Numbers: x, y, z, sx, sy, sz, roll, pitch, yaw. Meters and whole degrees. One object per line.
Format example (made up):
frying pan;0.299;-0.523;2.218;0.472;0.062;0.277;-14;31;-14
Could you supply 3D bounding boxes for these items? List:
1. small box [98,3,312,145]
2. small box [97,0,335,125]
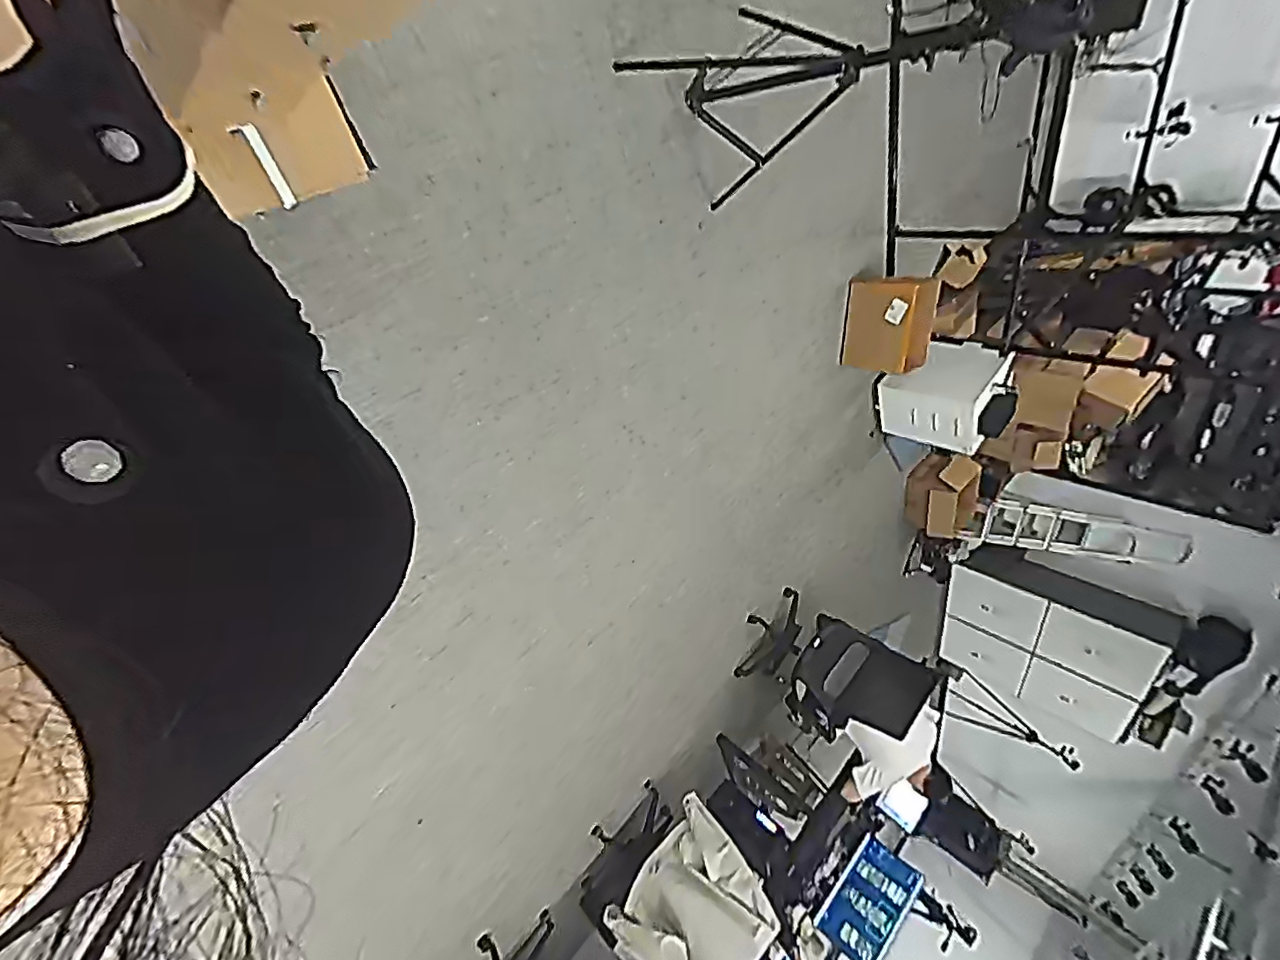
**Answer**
small box;-0.613;-0.601;0.764;0.168;0.176;0.179;-39;132;-24
small box;-0.513;-0.549;0.647;0.179;0.176;0.168;-38;130;-24
